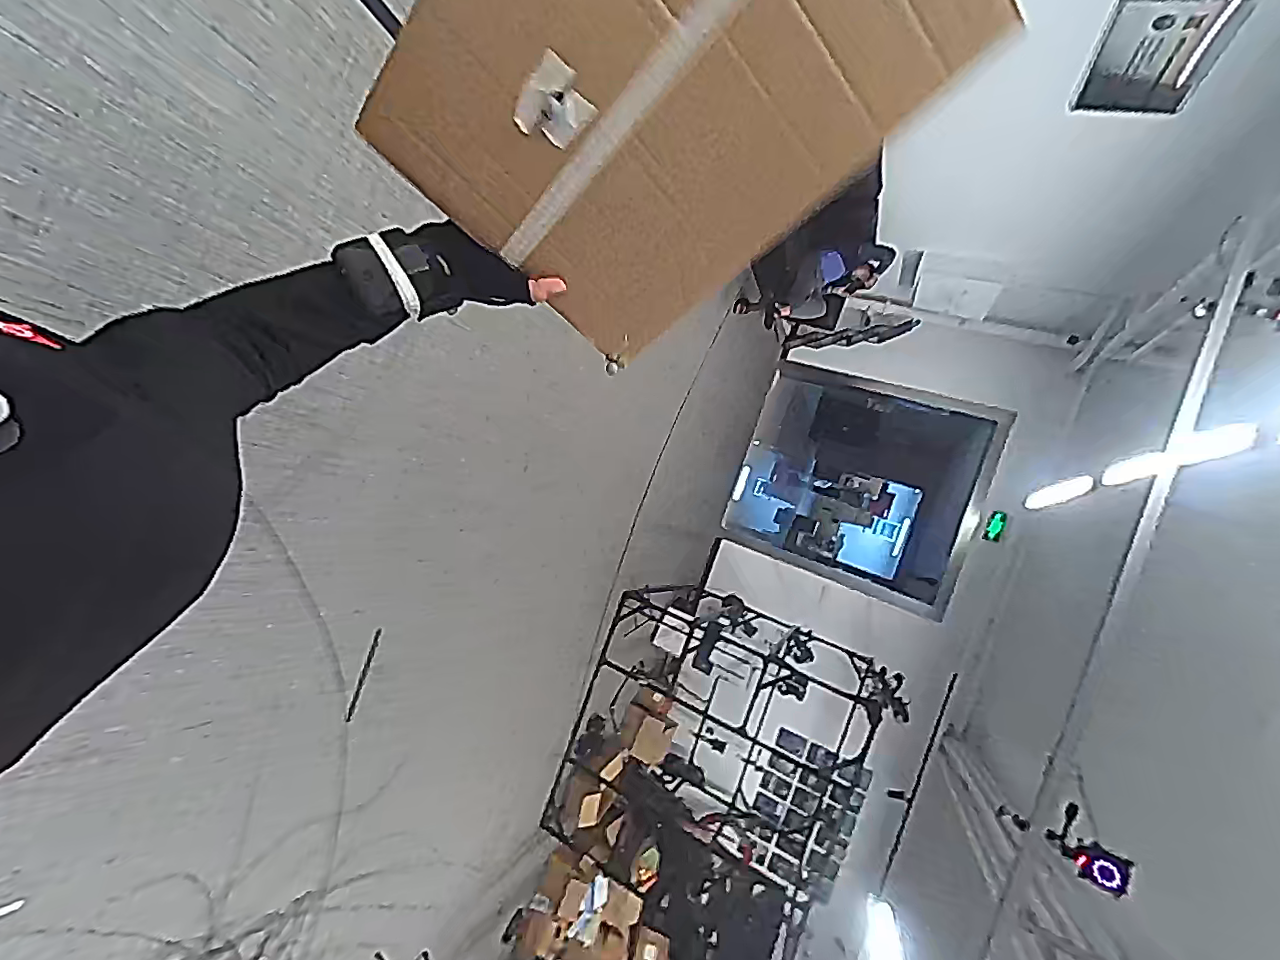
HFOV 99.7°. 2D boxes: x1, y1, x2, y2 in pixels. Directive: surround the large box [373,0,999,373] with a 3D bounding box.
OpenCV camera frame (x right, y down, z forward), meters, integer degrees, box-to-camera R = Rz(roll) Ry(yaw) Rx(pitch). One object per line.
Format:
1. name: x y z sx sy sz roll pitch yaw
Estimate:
1. large box: 0.032 -0.391 0.522 0.320 0.408 0.320 41 39 -26
